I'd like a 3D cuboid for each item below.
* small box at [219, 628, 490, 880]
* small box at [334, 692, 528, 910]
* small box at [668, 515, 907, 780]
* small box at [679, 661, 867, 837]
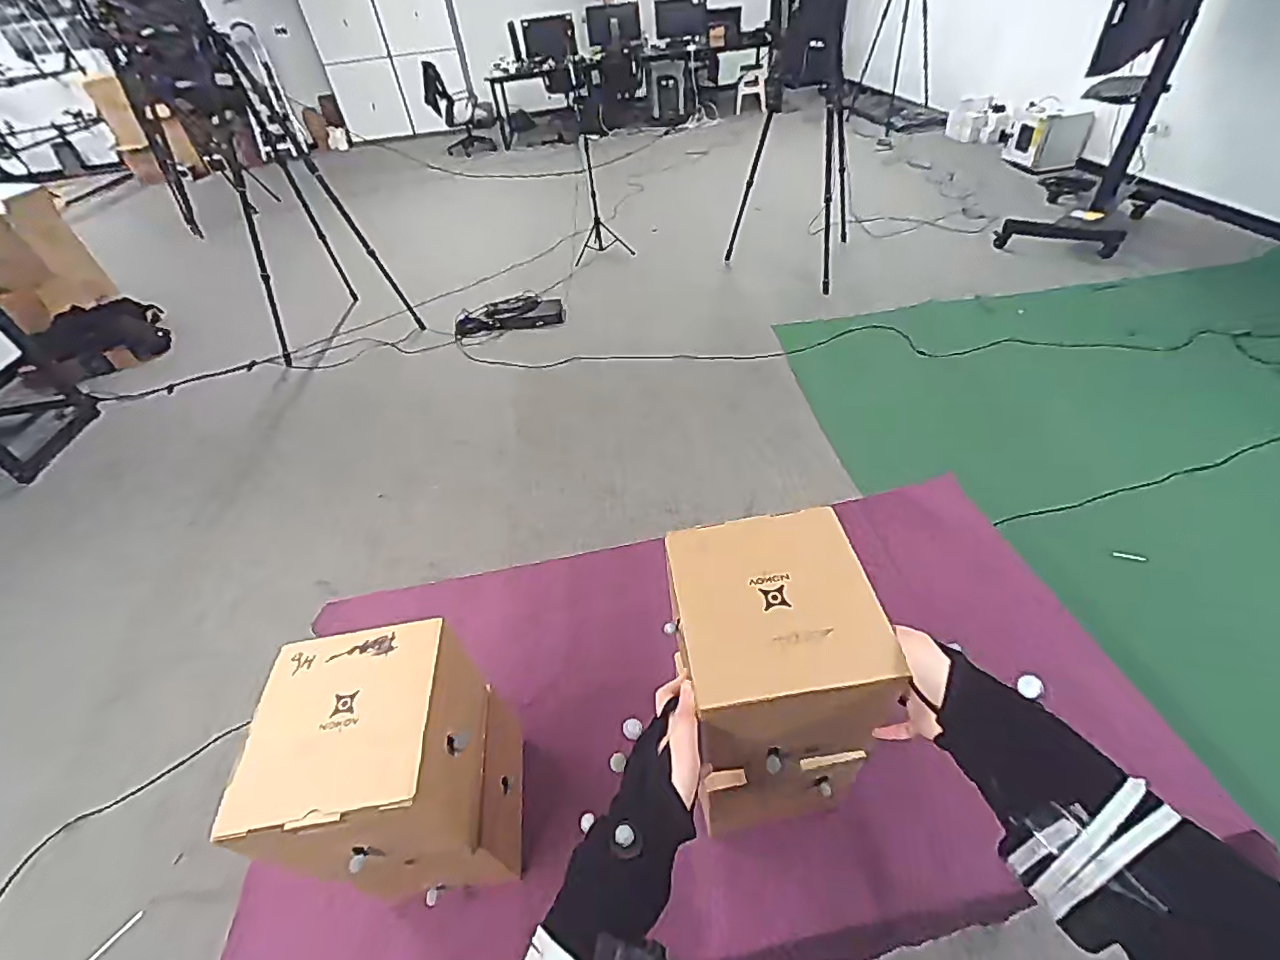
[{"bbox_3d":[-0.259,0.280,0.547,0.168,0.176,0.179,-9,43,-2],"label":"small box"},{"bbox_3d":[-0.239,0.393,0.665,0.168,0.176,0.179,-10,44,-2],"label":"small box"},{"bbox_3d":[0.123,0.162,0.525,0.168,0.176,0.179,-9,45,0],"label":"small box"},{"bbox_3d":[0.153,0.321,0.681,0.179,0.176,0.168,-11,42,-3],"label":"small box"}]
